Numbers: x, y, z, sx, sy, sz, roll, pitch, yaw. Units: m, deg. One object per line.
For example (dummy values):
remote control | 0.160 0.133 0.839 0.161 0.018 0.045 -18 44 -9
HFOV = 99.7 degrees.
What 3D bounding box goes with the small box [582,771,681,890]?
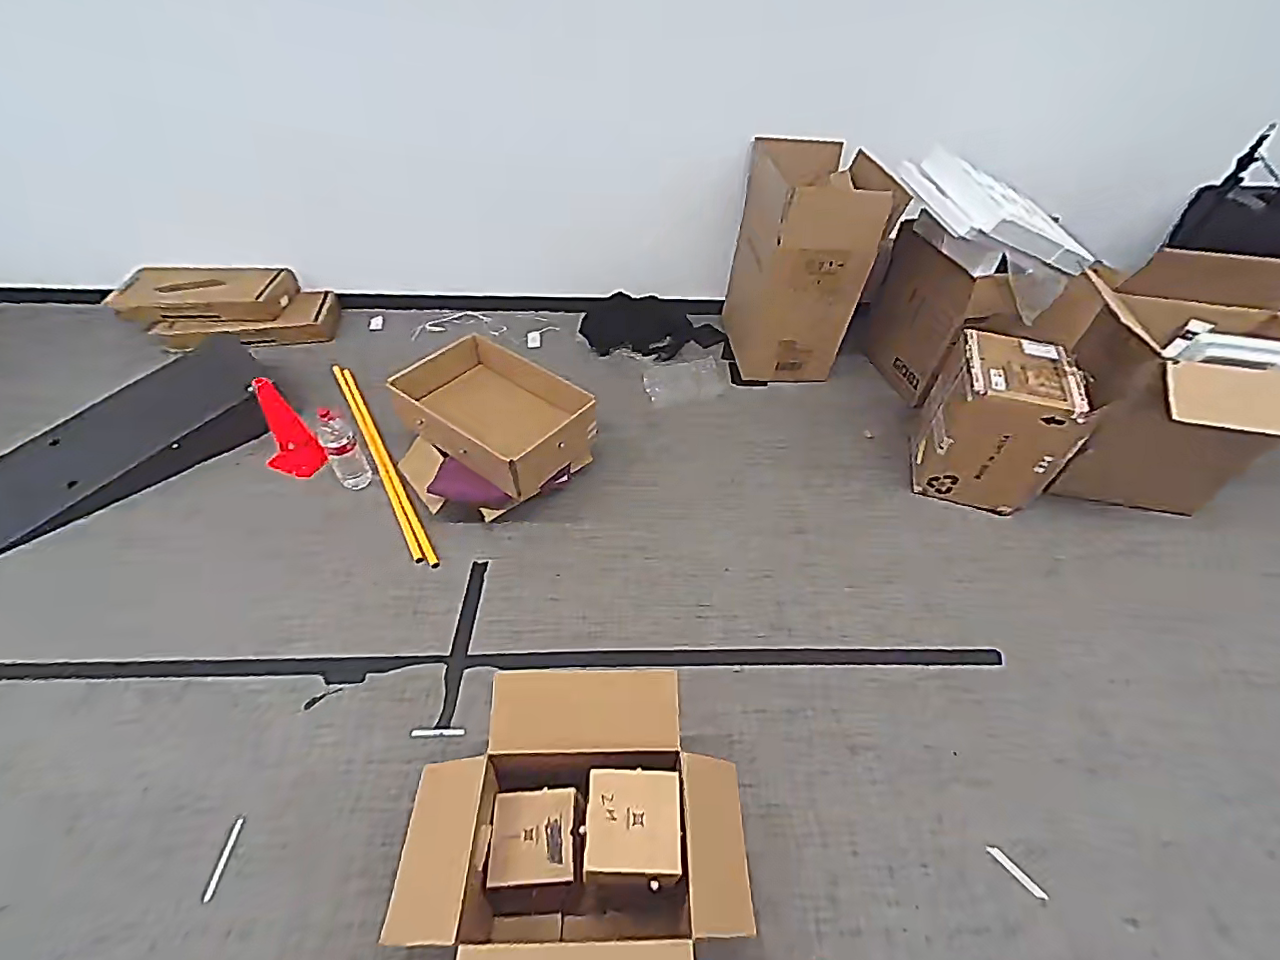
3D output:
small box | -0.017 0.685 1.056 0.179 0.176 0.168 2 46 -1
